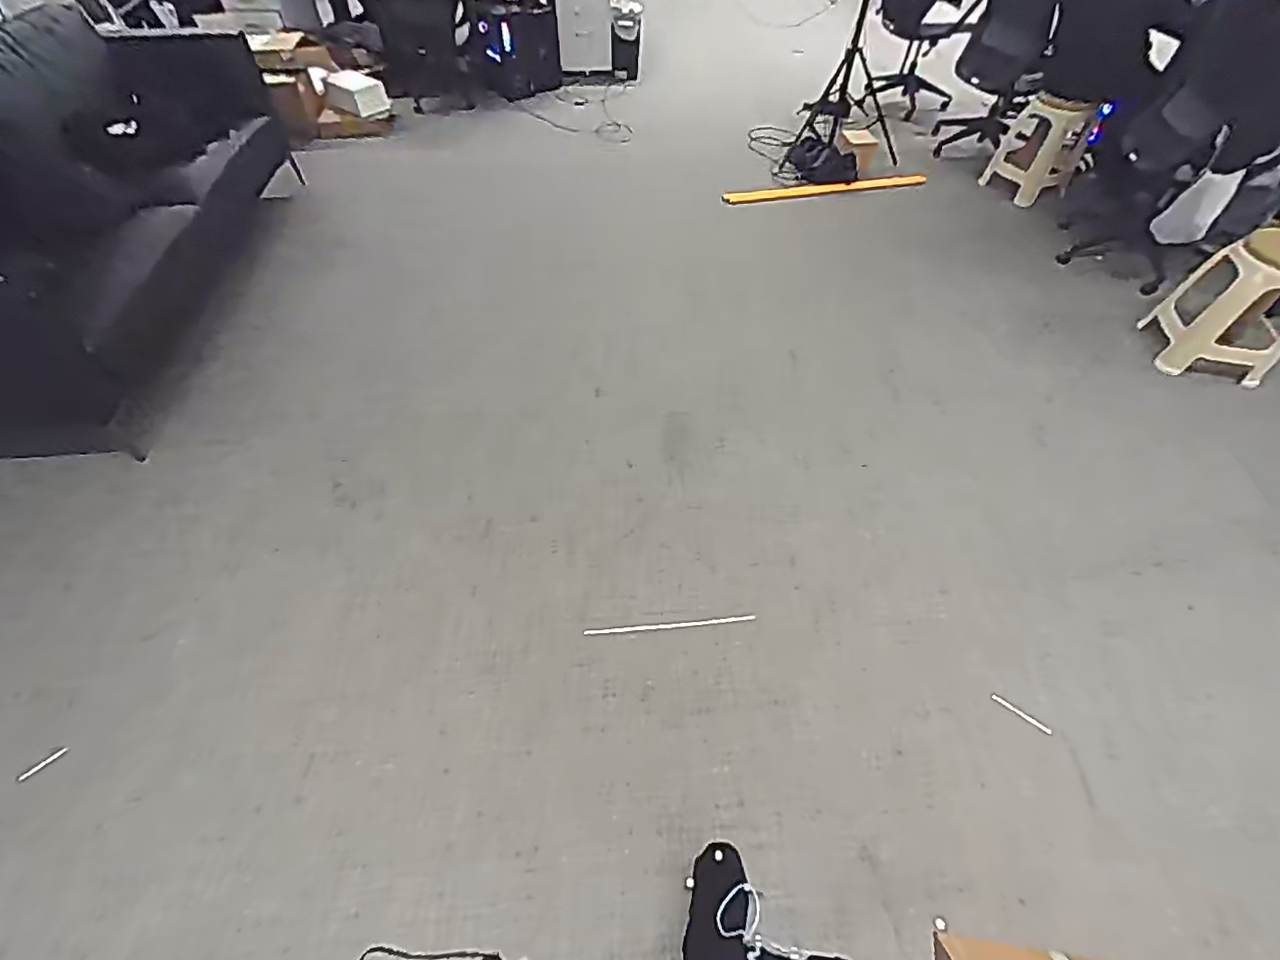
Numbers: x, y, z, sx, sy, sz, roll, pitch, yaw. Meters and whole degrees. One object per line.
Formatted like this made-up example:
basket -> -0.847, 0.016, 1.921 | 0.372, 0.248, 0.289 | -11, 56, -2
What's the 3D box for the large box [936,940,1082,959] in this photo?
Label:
large box -> 0.547, 0.790, 0.552 | 0.320, 0.408, 0.320 | 5, 78, 9
